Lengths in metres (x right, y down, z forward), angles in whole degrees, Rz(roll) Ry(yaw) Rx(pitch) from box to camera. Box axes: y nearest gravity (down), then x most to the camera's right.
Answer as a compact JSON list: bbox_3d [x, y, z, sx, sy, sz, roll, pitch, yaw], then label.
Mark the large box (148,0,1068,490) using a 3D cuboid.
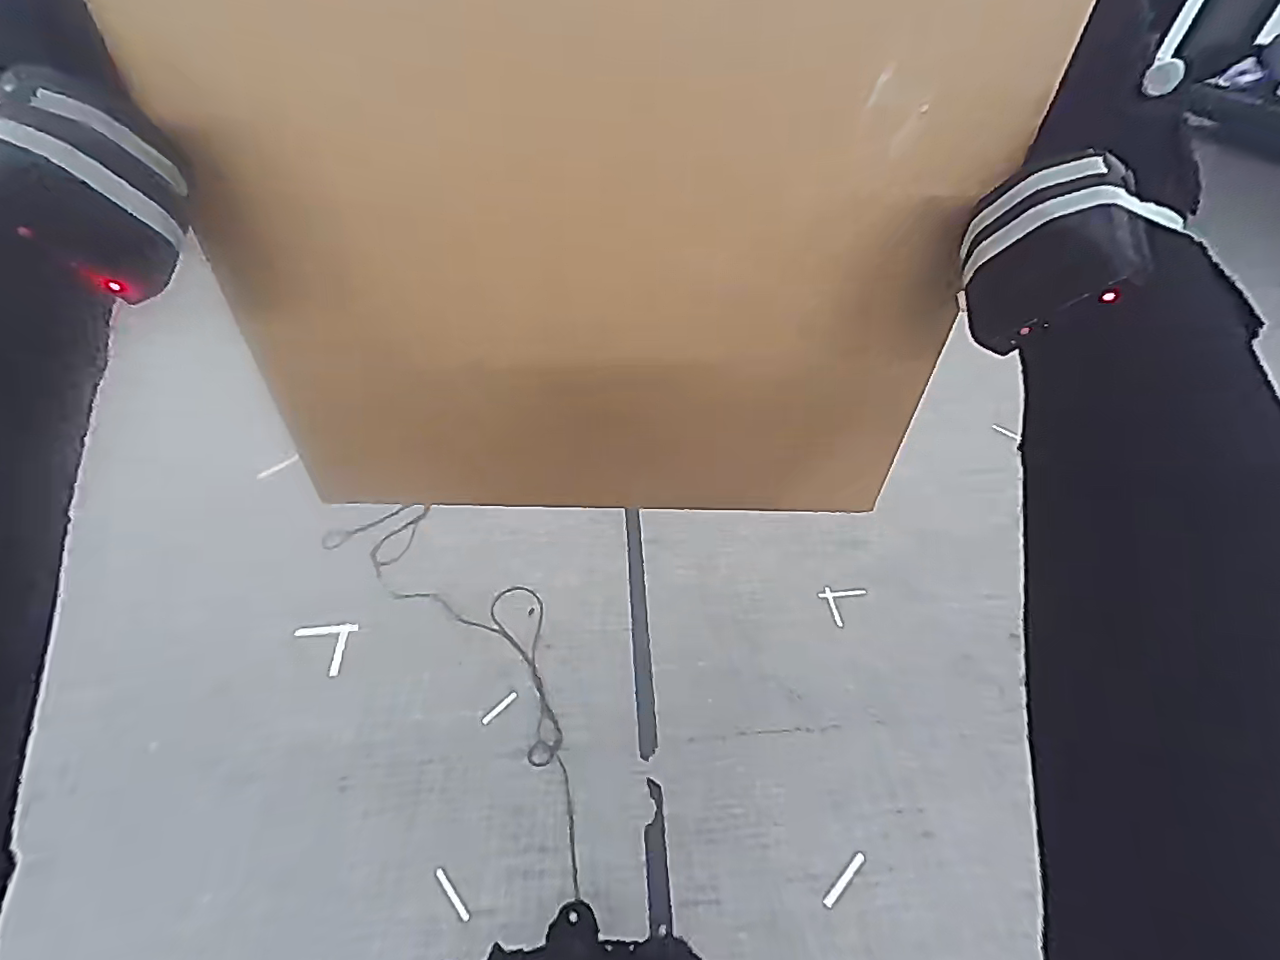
[{"bbox_3d":[-0.023,-0.204,0.420,0.408,0.320,0.320,2,41,-3],"label":"large box"}]
